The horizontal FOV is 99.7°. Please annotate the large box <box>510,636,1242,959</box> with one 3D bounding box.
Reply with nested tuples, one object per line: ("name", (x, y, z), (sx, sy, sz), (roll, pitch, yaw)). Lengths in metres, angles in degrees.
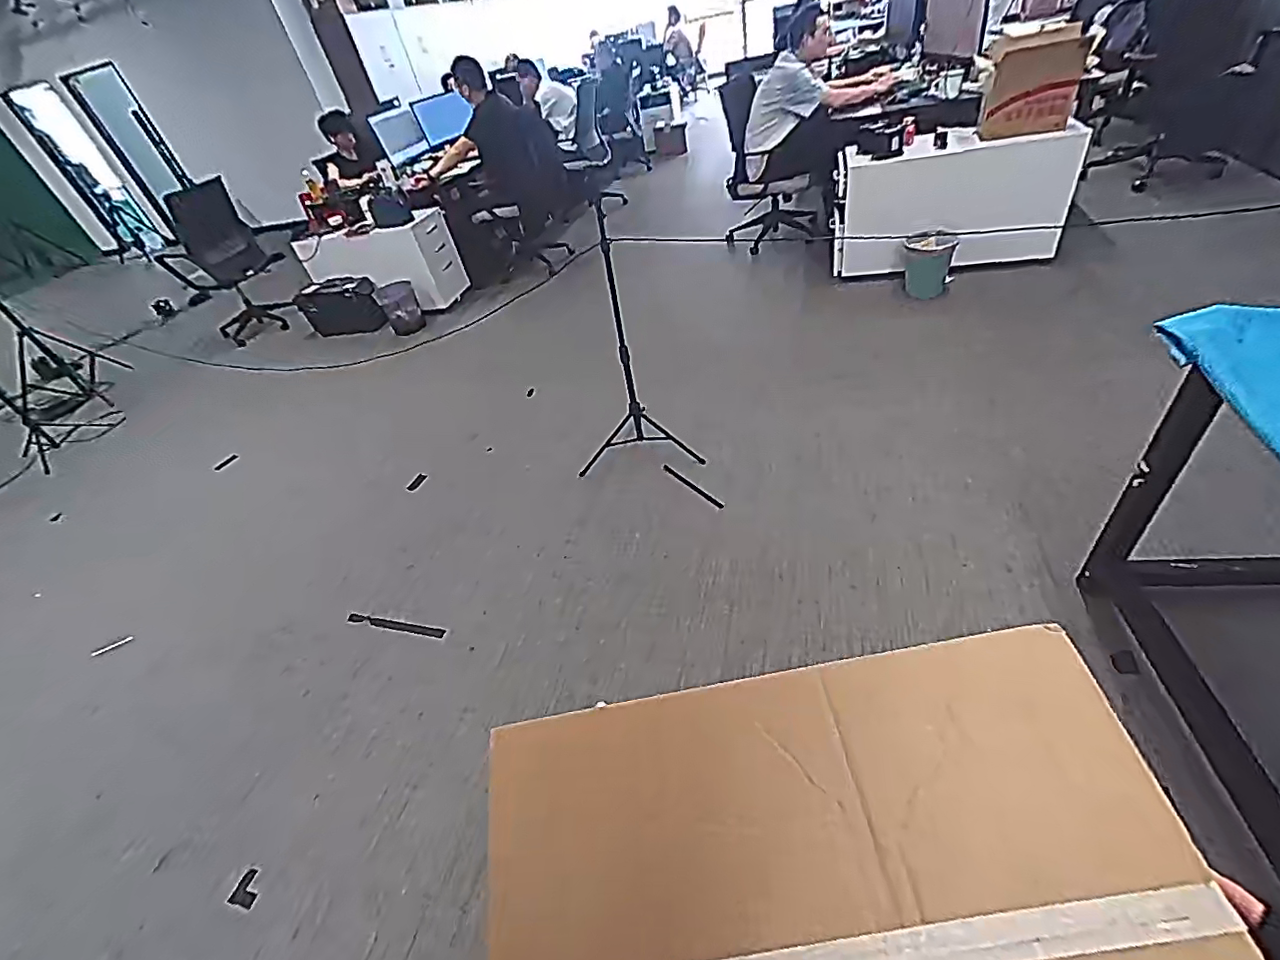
("large box", (0.142, 0.358, 0.427), (0.408, 0.320, 0.320), (-12, 56, 4))
